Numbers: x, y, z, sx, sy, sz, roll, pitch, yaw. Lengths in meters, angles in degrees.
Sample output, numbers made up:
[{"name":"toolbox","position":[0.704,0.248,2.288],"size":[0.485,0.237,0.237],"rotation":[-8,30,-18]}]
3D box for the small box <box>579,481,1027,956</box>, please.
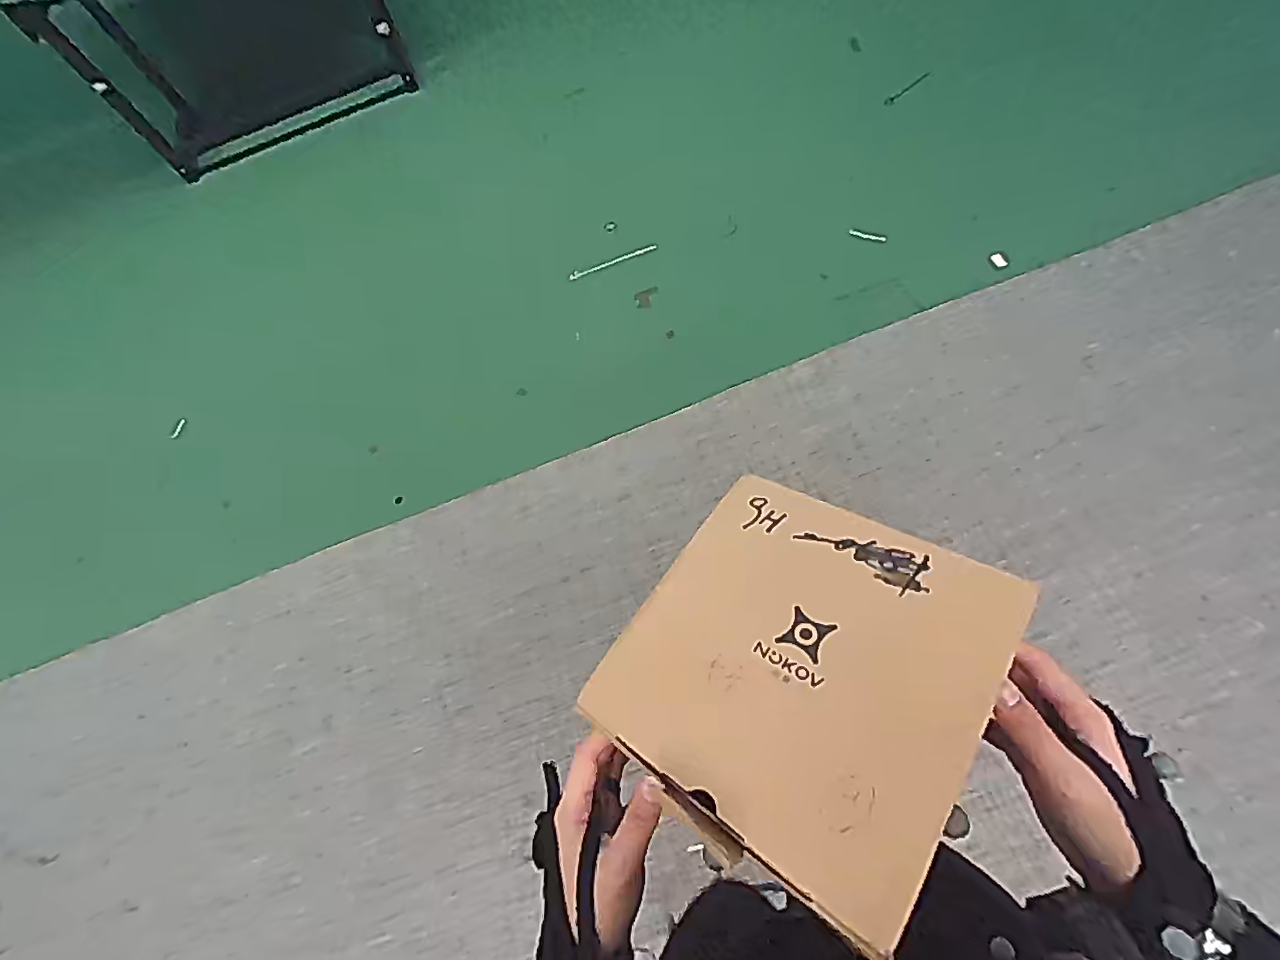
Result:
[{"name":"small box","position":[0.099,0.138,0.335],"size":[0.168,0.176,0.179],"rotation":[25,64,34]}]
